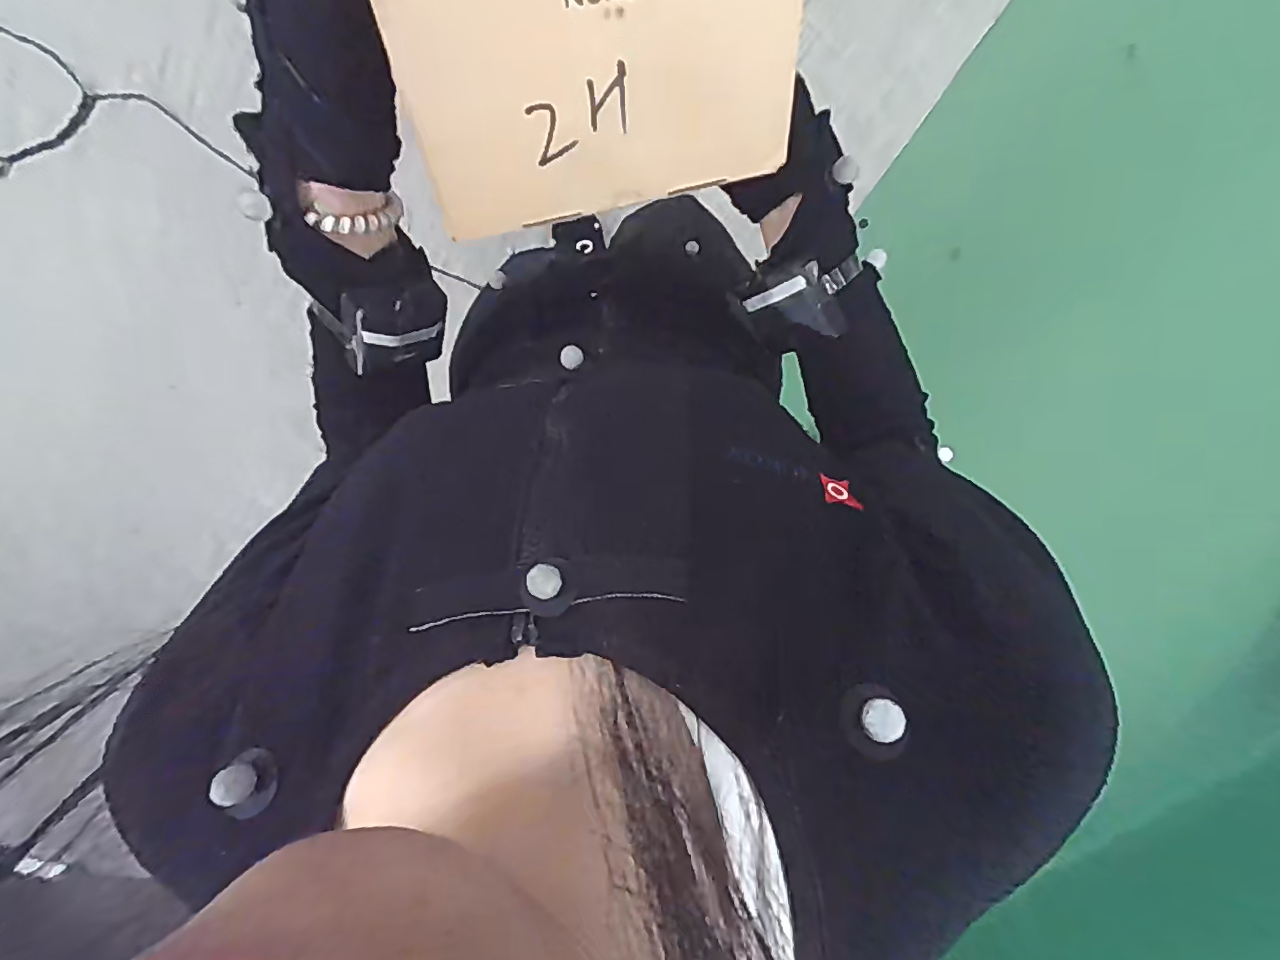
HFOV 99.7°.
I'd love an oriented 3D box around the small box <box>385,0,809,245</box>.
[{"bbox_3d":[-0.036,-0.241,0.251,0.168,0.176,0.179,-17,137,-9],"label":"small box"}]
